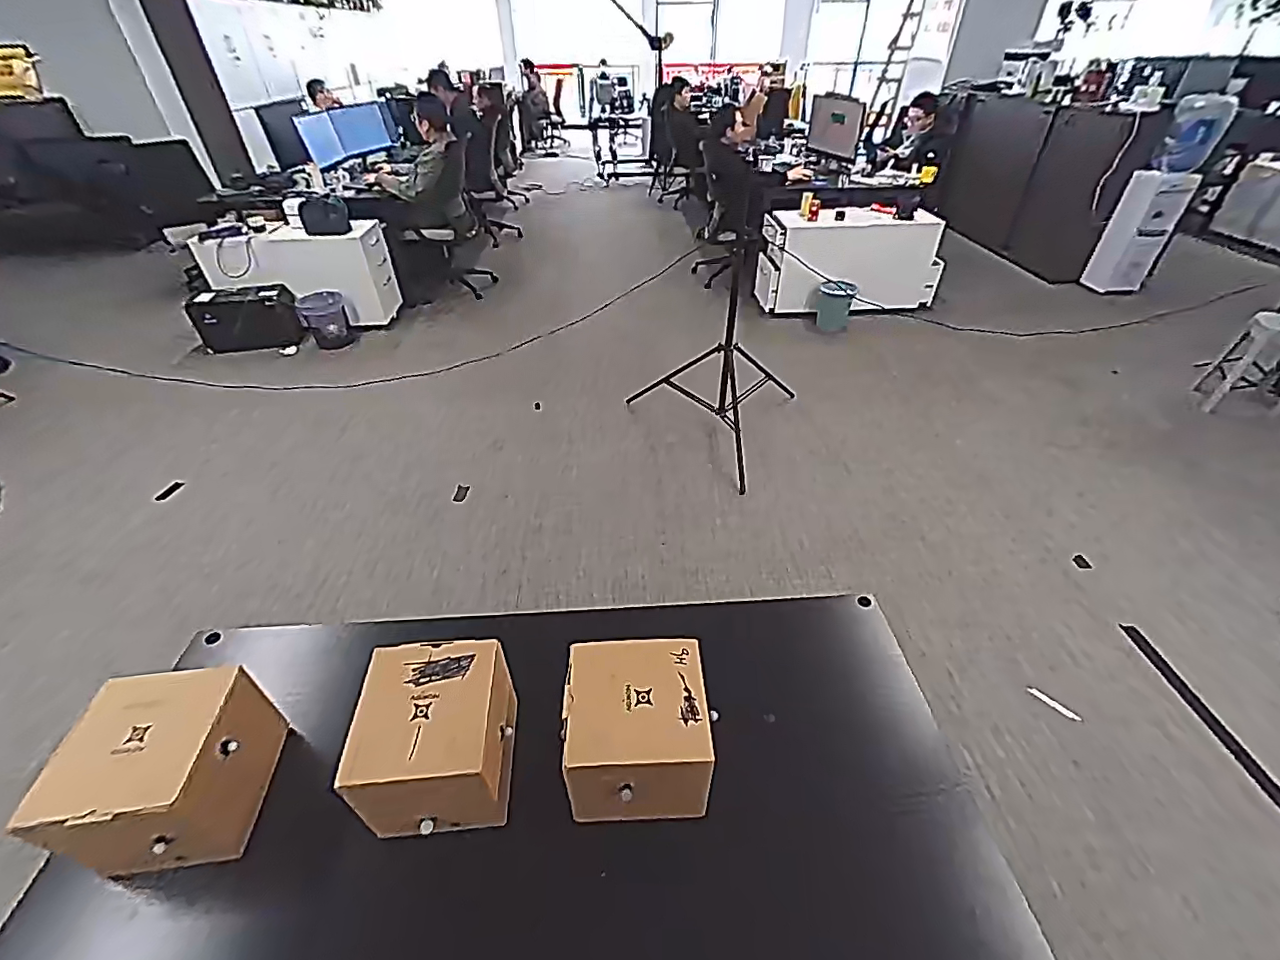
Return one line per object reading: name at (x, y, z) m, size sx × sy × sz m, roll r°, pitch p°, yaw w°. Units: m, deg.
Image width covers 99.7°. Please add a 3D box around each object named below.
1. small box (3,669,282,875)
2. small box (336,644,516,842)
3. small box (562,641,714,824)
small box at (-0.591, 0.369, 0.681) m, size 0.168 × 0.176 × 0.179 m, roll -4°, pitch 39°, yaw -7°
small box at (-0.261, 0.342, 0.710) m, size 0.168 × 0.176 × 0.179 m, roll -4°, pitch 40°, yaw -4°
small box at (-0.001, 0.335, 0.717) m, size 0.179 × 0.176 × 0.168 m, roll -2°, pitch 39°, yaw -1°
